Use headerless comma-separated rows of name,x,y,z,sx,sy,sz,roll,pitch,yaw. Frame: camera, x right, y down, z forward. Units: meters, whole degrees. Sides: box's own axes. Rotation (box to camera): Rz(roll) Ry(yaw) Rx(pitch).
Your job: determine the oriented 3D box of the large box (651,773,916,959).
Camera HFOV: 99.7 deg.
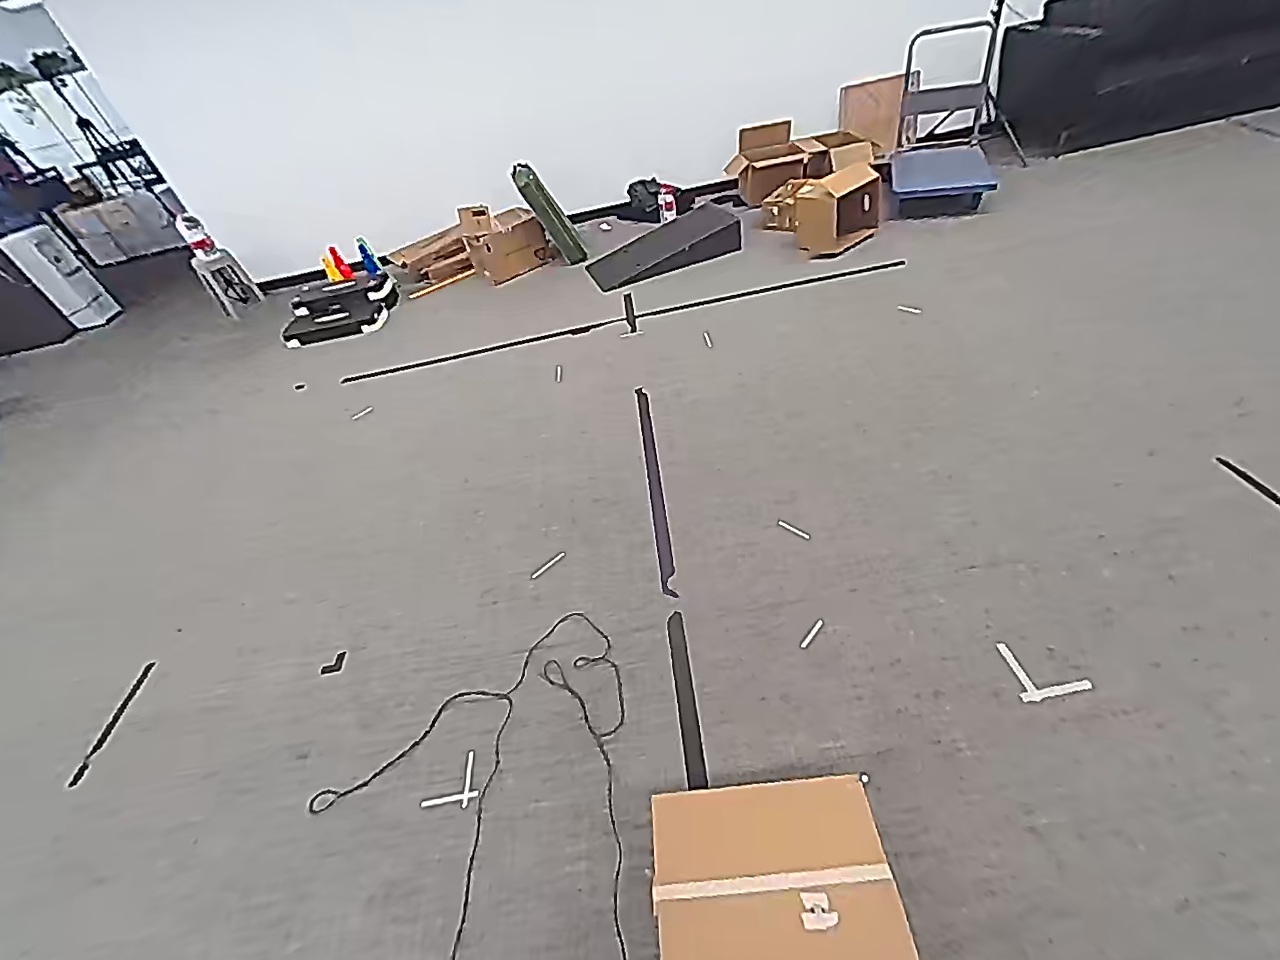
large box,0.247,0.803,1.036,0.408,0.320,0.320,-8,42,4
